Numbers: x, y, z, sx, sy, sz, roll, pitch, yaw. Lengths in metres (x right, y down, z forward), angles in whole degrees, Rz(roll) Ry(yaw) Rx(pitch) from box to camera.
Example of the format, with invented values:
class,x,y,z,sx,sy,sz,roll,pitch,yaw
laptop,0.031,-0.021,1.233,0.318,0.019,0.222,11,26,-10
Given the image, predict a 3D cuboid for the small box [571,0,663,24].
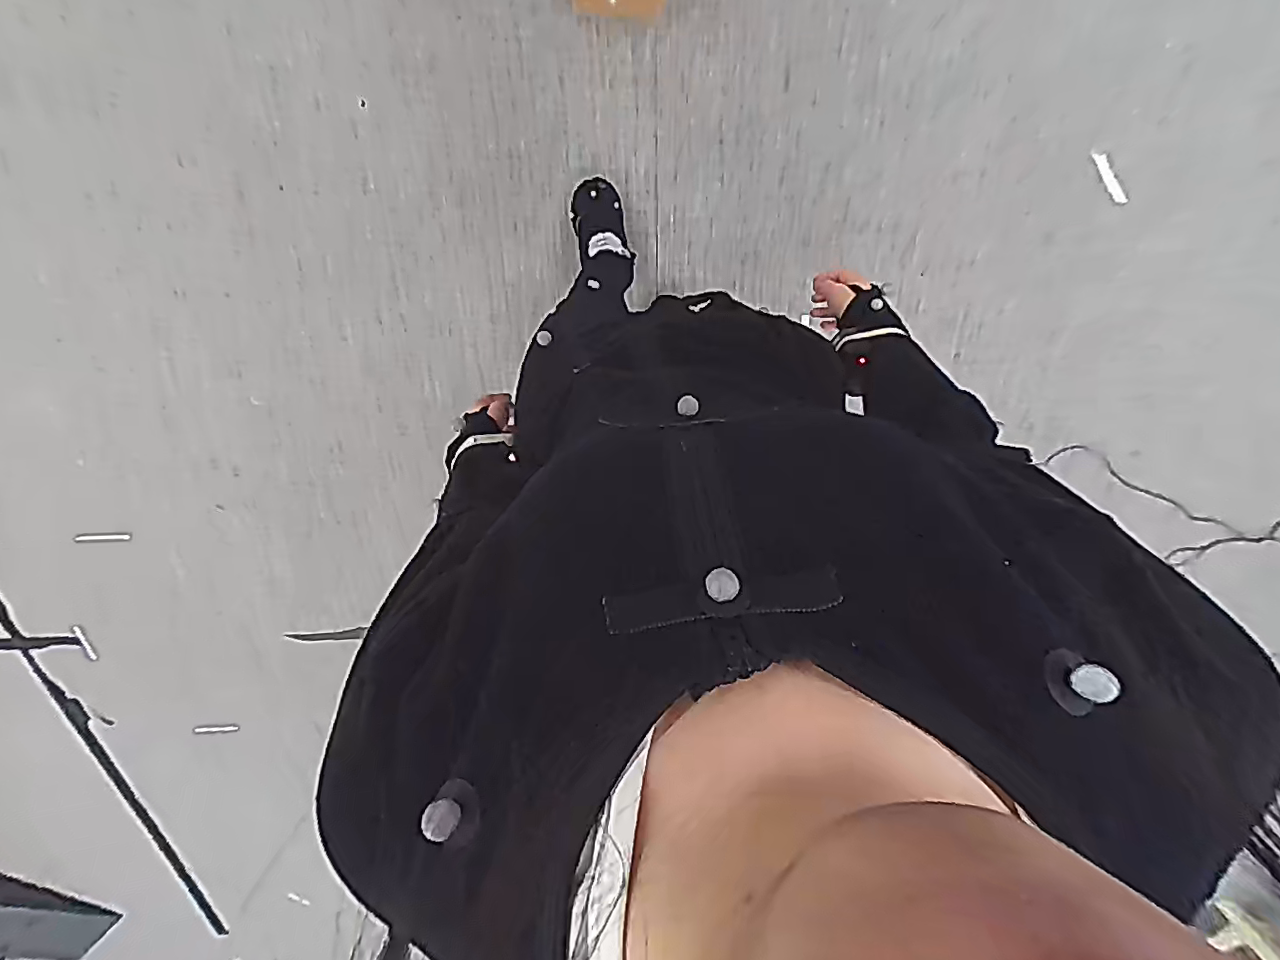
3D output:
class,x,y,z,sx,sy,sz,roll,pitch,yaw
small box,-0.041,-0.989,1.015,0.179,0.176,0.168,3,116,-4
